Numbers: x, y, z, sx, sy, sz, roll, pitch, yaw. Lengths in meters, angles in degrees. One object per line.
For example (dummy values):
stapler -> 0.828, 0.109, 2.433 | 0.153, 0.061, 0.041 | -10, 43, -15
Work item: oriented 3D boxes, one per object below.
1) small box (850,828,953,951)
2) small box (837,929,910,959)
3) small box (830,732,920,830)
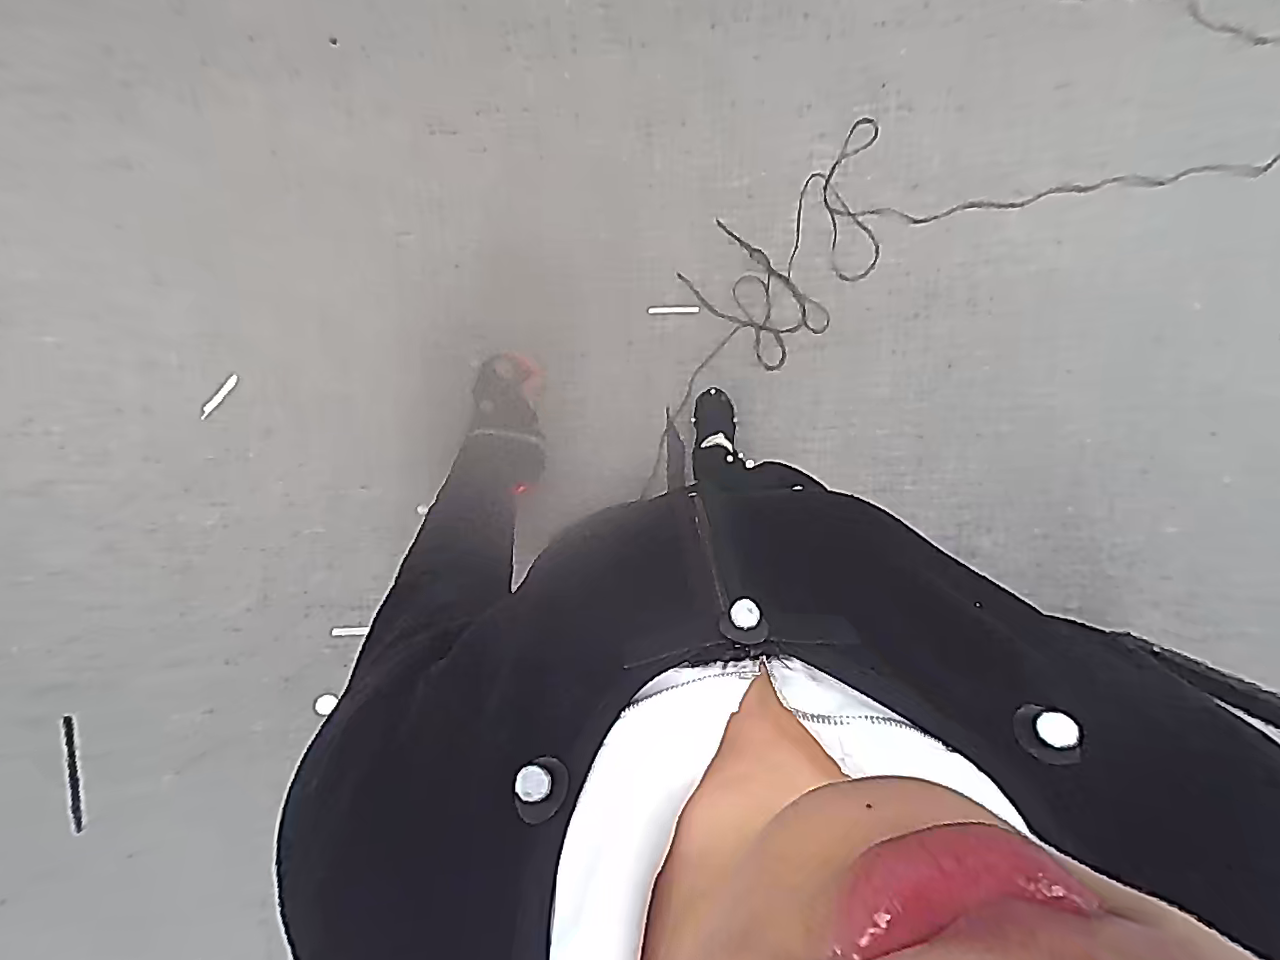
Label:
small box -> 0.684, 1.079, 1.441 | 0.168, 0.176, 0.179 | 20, 93, 1
small box -> 0.666, 1.381, 1.456 | 0.179, 0.176, 0.168 | 43, 94, 0
small box -> 0.614, 0.787, 1.428 | 0.179, 0.176, 0.168 | -2, 93, 5
